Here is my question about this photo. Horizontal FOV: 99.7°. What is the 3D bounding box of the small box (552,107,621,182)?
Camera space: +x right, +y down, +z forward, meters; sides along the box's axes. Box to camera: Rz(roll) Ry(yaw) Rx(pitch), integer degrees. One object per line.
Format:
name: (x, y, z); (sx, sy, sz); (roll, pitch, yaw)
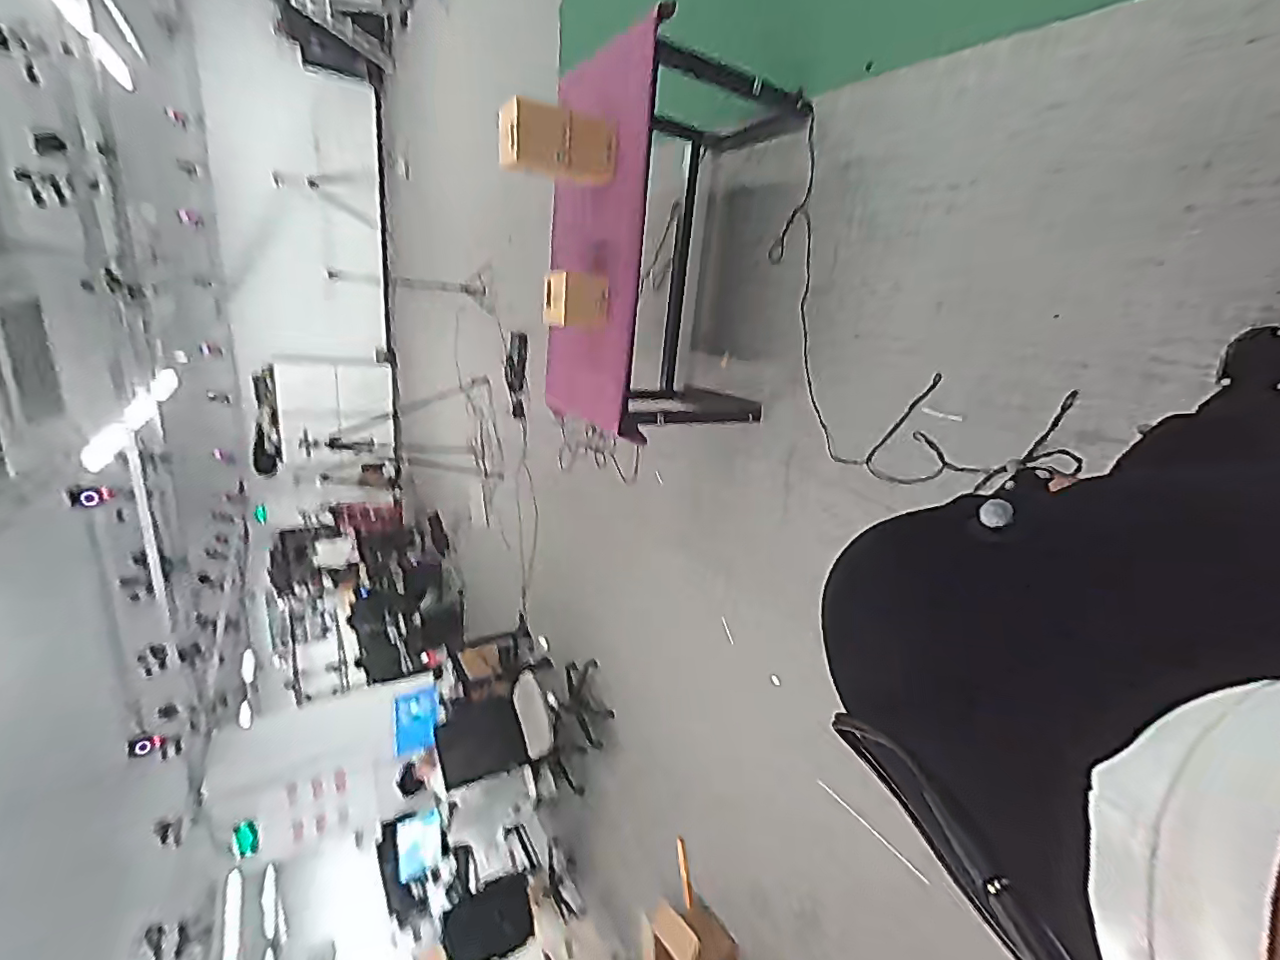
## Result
small box: (-0.179, -1.075, 1.747); (0.179, 0.176, 0.168); (33, 123, 52)

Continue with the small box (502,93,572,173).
small box: (-0.317, -1.059, 1.660); (0.179, 0.176, 0.168); (34, 124, 54)
